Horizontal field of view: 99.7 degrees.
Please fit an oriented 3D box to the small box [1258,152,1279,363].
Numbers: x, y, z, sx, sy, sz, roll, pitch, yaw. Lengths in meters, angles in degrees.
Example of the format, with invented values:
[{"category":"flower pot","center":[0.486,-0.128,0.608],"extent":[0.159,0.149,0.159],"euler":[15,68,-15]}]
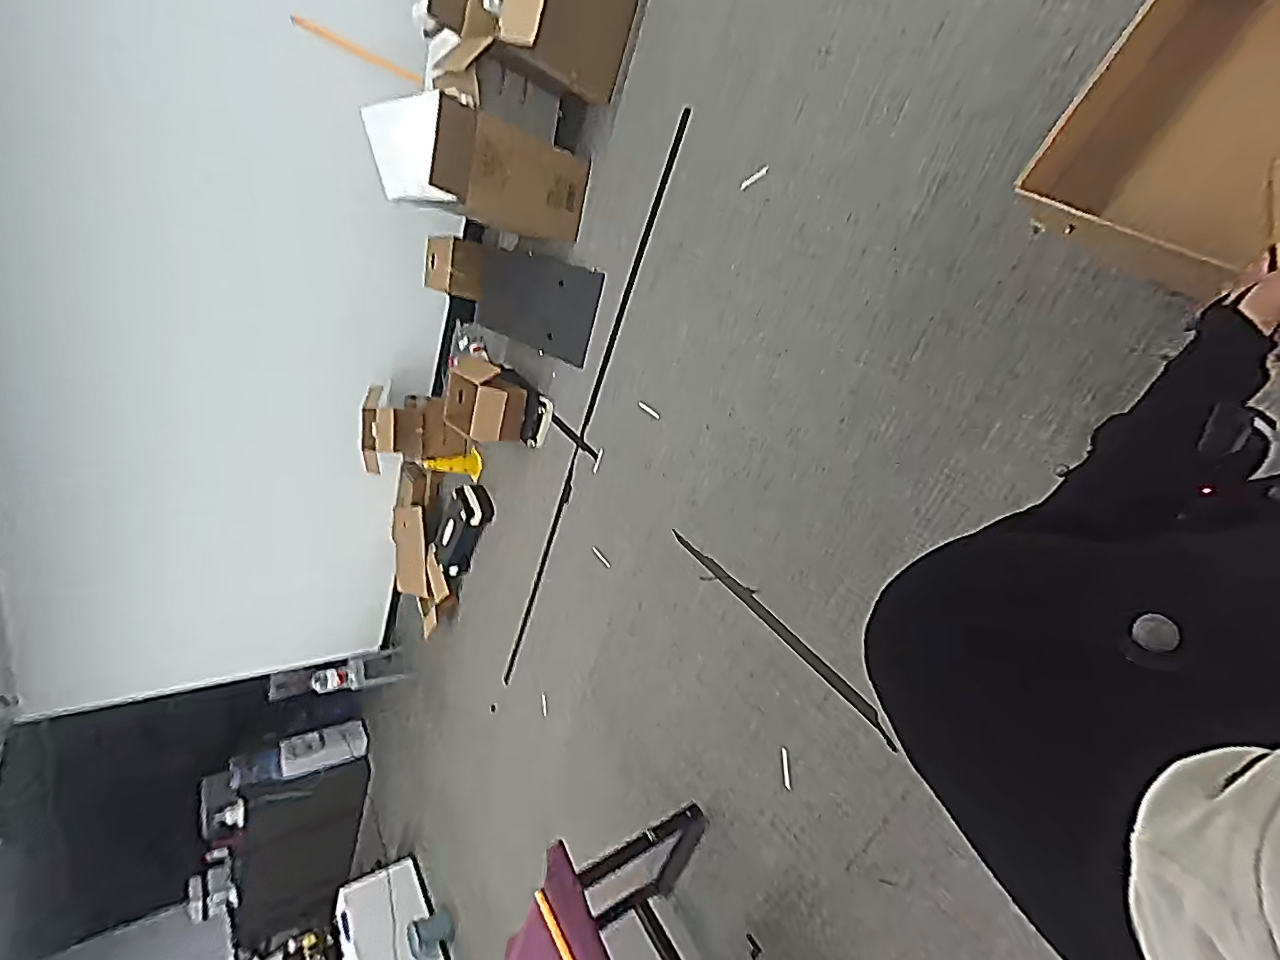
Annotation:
[{"category":"small box","center":[0.702,-0.217,0.501],"extent":[0.168,0.176,0.179],"euler":[-3,84,49]}]
